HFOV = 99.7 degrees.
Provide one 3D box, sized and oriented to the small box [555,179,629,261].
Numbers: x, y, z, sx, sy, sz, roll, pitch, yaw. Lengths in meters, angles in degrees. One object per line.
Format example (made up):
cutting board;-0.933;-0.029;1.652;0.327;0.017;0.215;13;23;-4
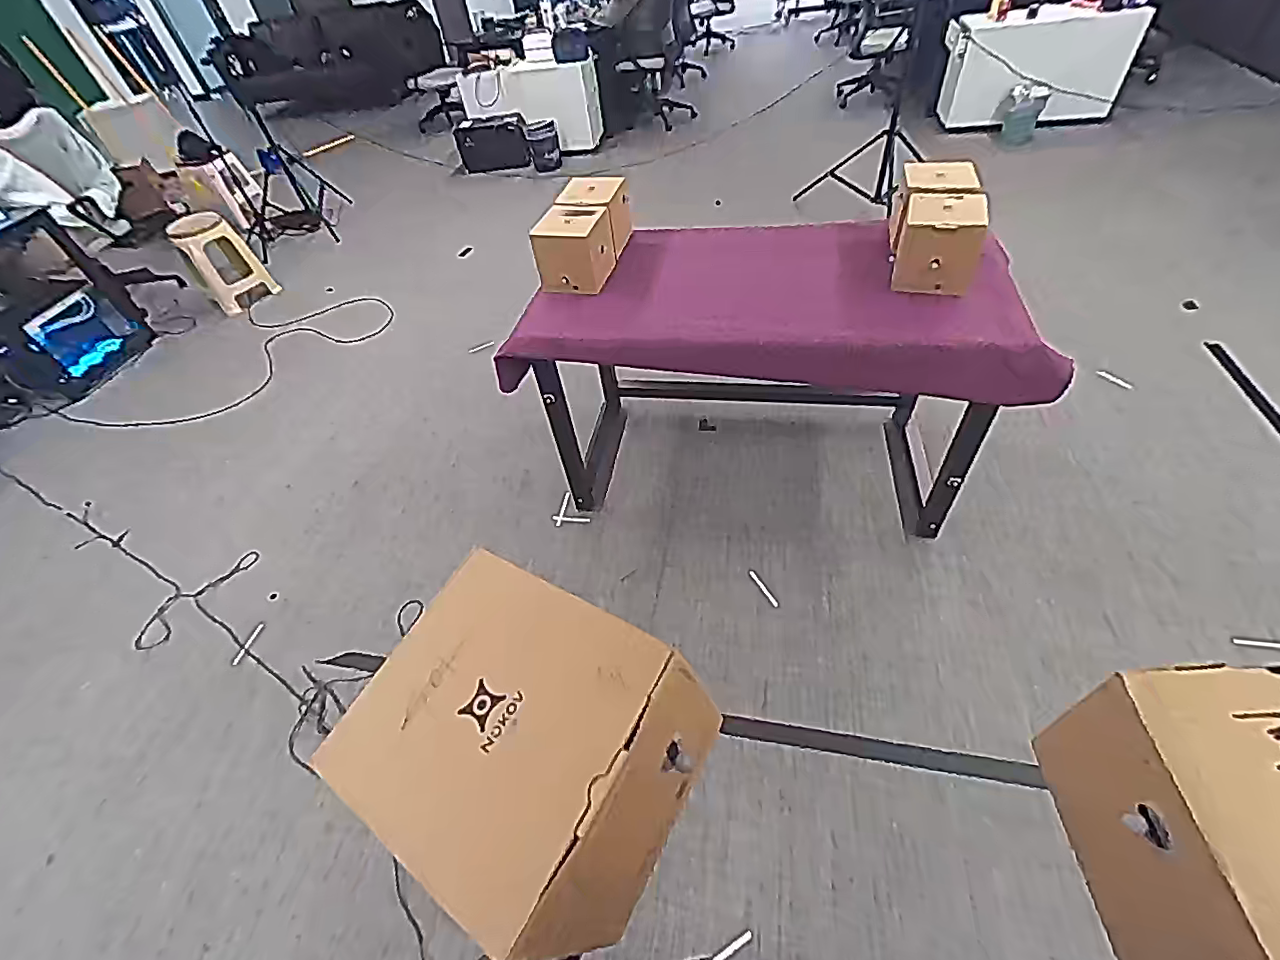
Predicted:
small box;-0.135;-0.777;1.614;0.168;0.176;0.179;7;51;14

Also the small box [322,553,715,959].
small box;-0.064;0.184;0.382;0.179;0.176;0.168;18;61;30

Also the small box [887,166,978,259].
small box;0.762;-0.707;1.428;0.168;0.176;0.179;8;49;14

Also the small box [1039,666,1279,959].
small box;0.383;0.226;0.322;0.168;0.176;0.179;-7;51;11
